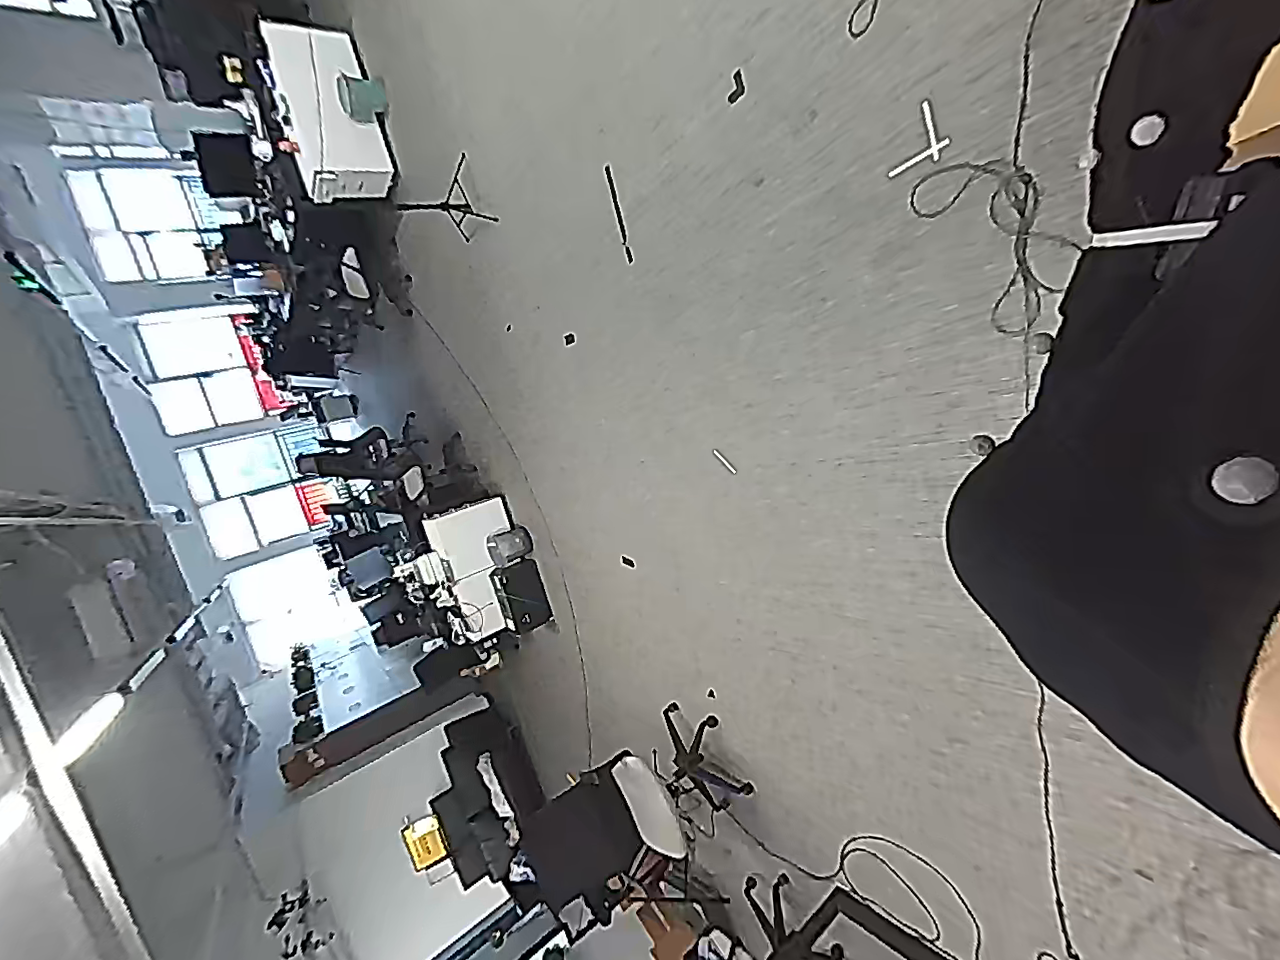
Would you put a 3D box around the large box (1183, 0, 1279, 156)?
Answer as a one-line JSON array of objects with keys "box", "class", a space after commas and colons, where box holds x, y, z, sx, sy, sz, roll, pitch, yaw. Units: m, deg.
[{"box": [1.008, -0.691, 0.689, 0.408, 0.320, 0.320, -10, 97, 56], "class": "large box"}]
